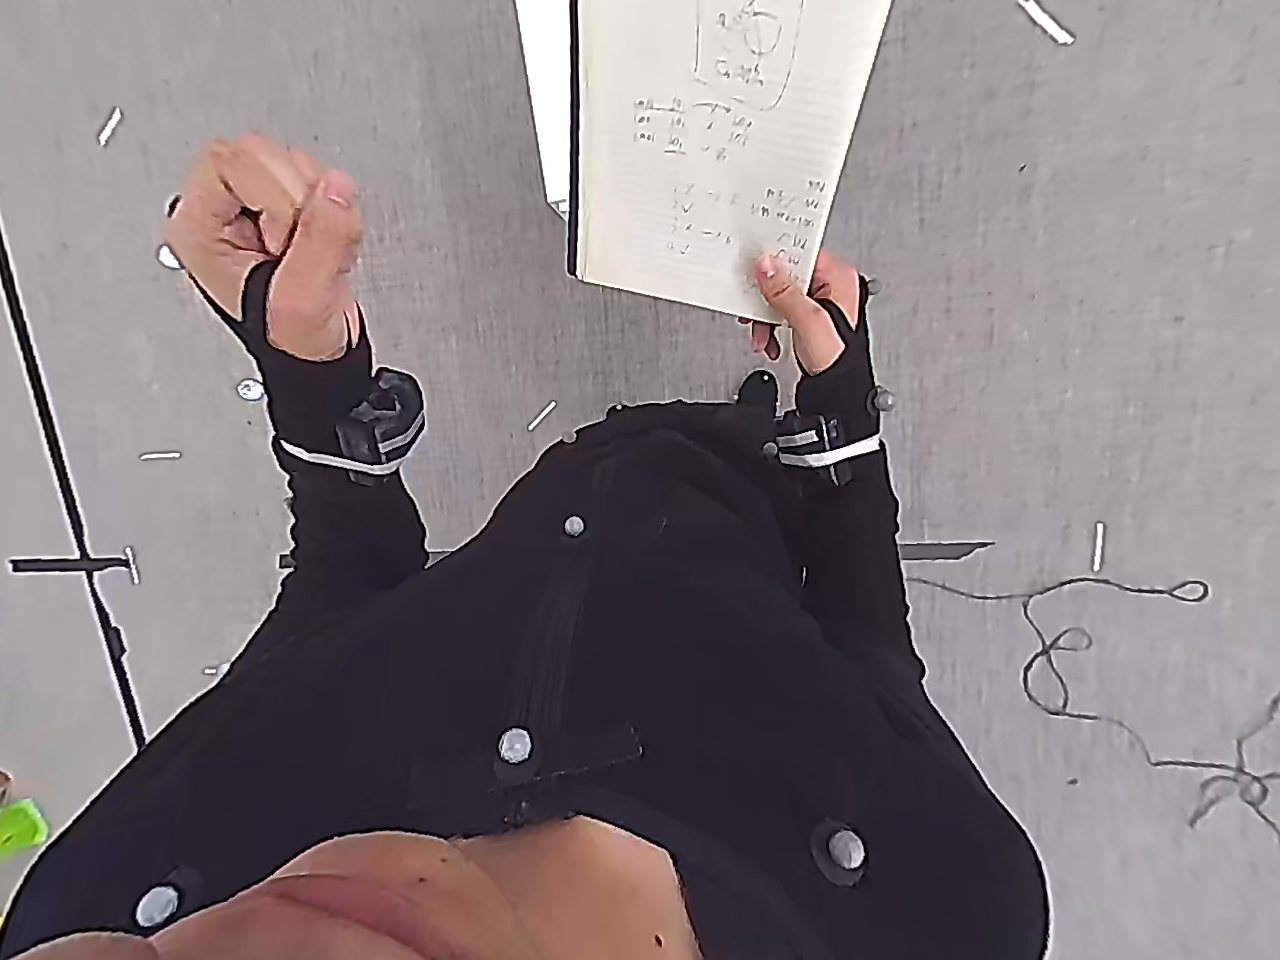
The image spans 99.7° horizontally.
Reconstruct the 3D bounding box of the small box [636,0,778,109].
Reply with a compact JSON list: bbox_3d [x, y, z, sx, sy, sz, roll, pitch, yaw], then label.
[{"bbox_3d":[0.090,-0.695,0.794,0.179,0.176,0.168,-15,98,11],"label":"small box"}]
